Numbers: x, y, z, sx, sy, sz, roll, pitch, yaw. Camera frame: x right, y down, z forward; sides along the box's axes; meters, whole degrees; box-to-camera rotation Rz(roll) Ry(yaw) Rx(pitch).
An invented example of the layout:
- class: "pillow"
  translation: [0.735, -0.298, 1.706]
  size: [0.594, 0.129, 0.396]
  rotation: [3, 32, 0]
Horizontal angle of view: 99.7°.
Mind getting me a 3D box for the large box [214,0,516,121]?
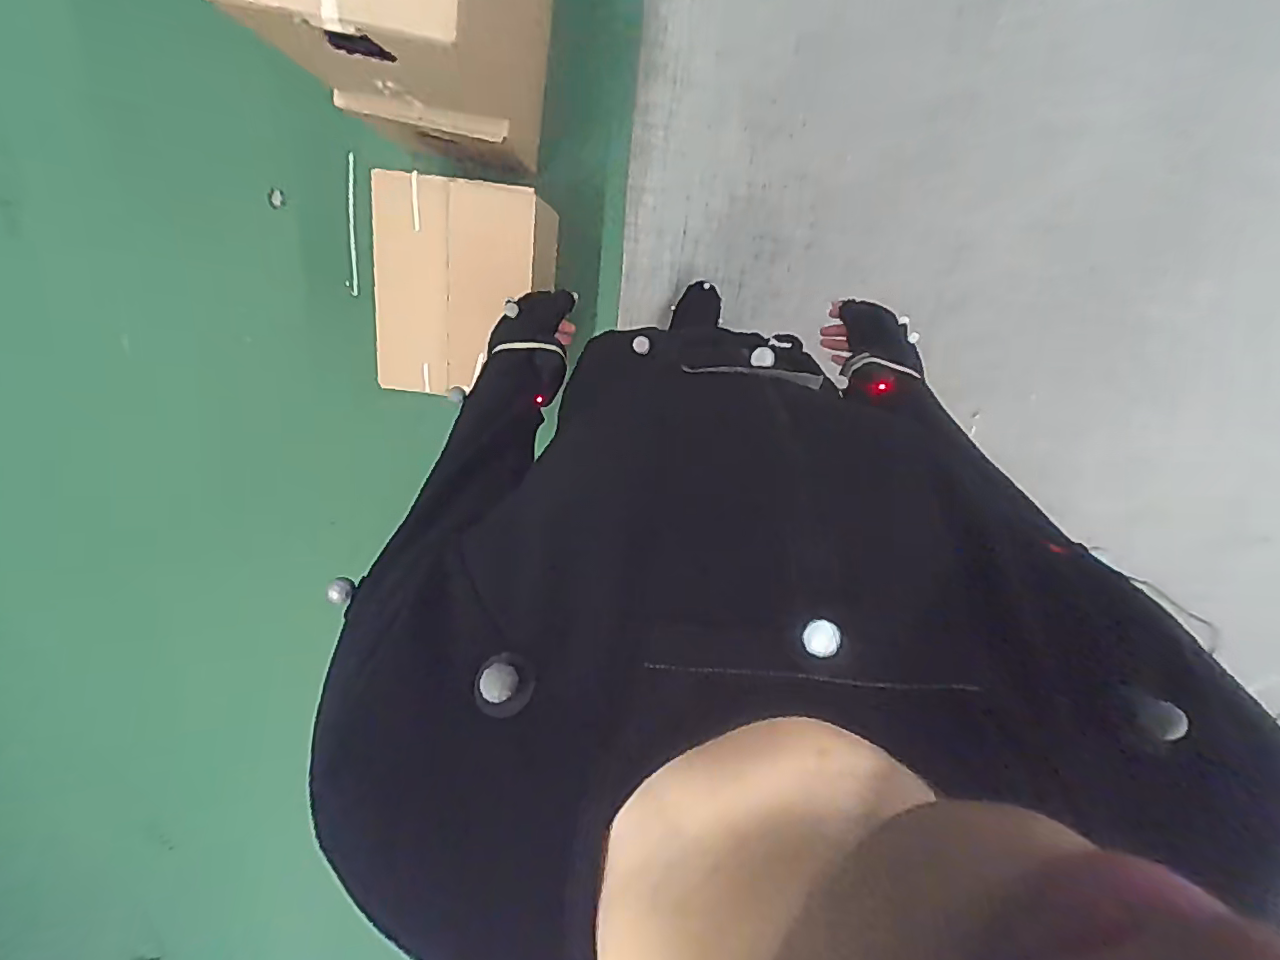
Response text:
- class: "large box"
  translation: [-0.355, -0.799, 0.759]
  size: [0.320, 0.320, 0.408]
  rotation: [8, 106, -4]
